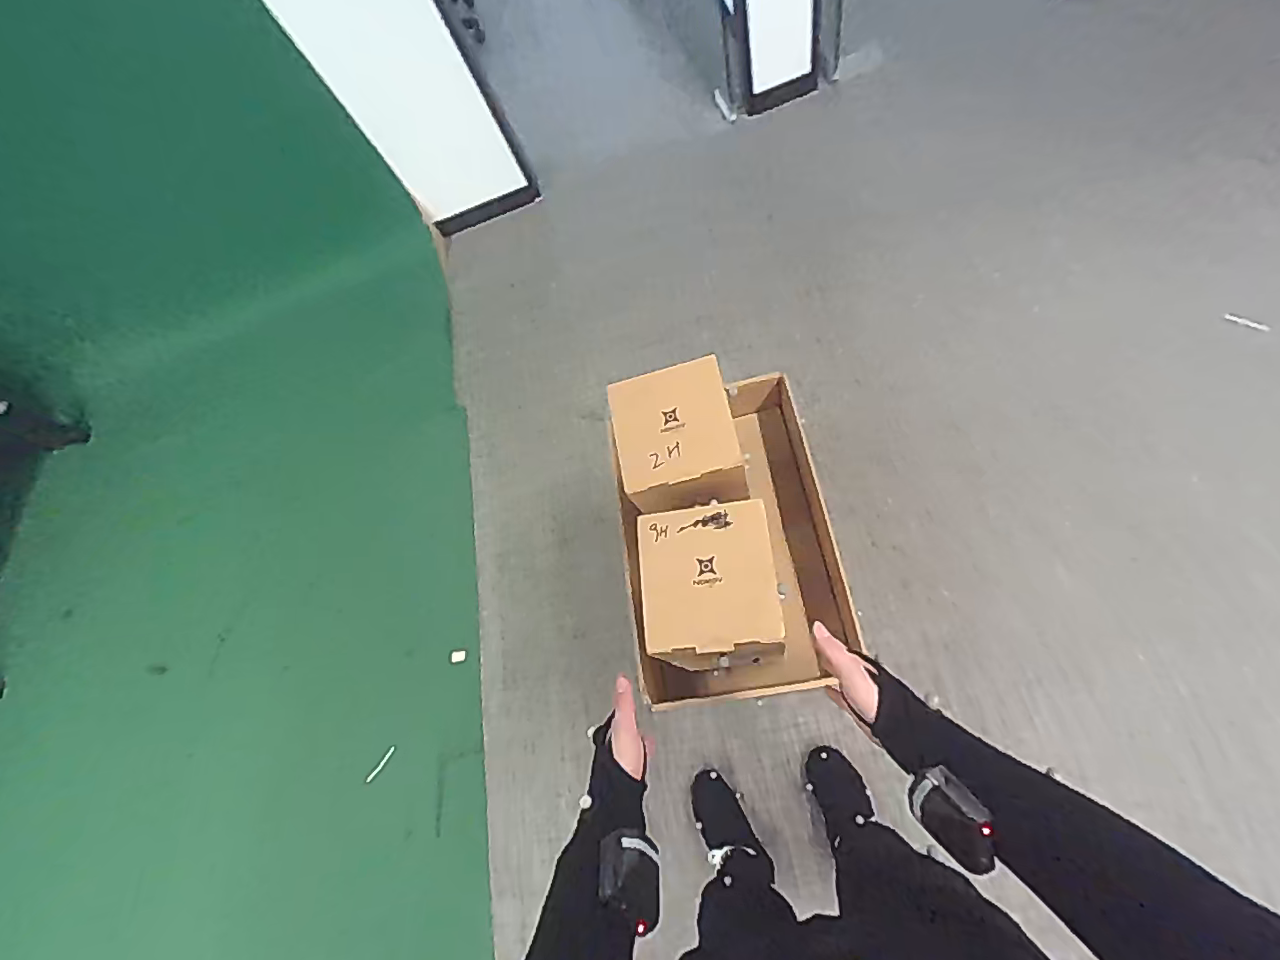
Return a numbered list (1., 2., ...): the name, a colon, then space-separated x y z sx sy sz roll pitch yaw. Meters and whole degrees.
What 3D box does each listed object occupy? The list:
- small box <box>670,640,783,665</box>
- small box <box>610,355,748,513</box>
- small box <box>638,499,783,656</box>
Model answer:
1. small box: 0.137 0.203 0.878 0.168 0.176 0.179 -9 66 11
2. small box: 0.064 -0.056 0.824 0.168 0.176 0.179 -14 68 10
3. small box: 0.099 0.142 0.731 0.168 0.176 0.179 -8 67 11
